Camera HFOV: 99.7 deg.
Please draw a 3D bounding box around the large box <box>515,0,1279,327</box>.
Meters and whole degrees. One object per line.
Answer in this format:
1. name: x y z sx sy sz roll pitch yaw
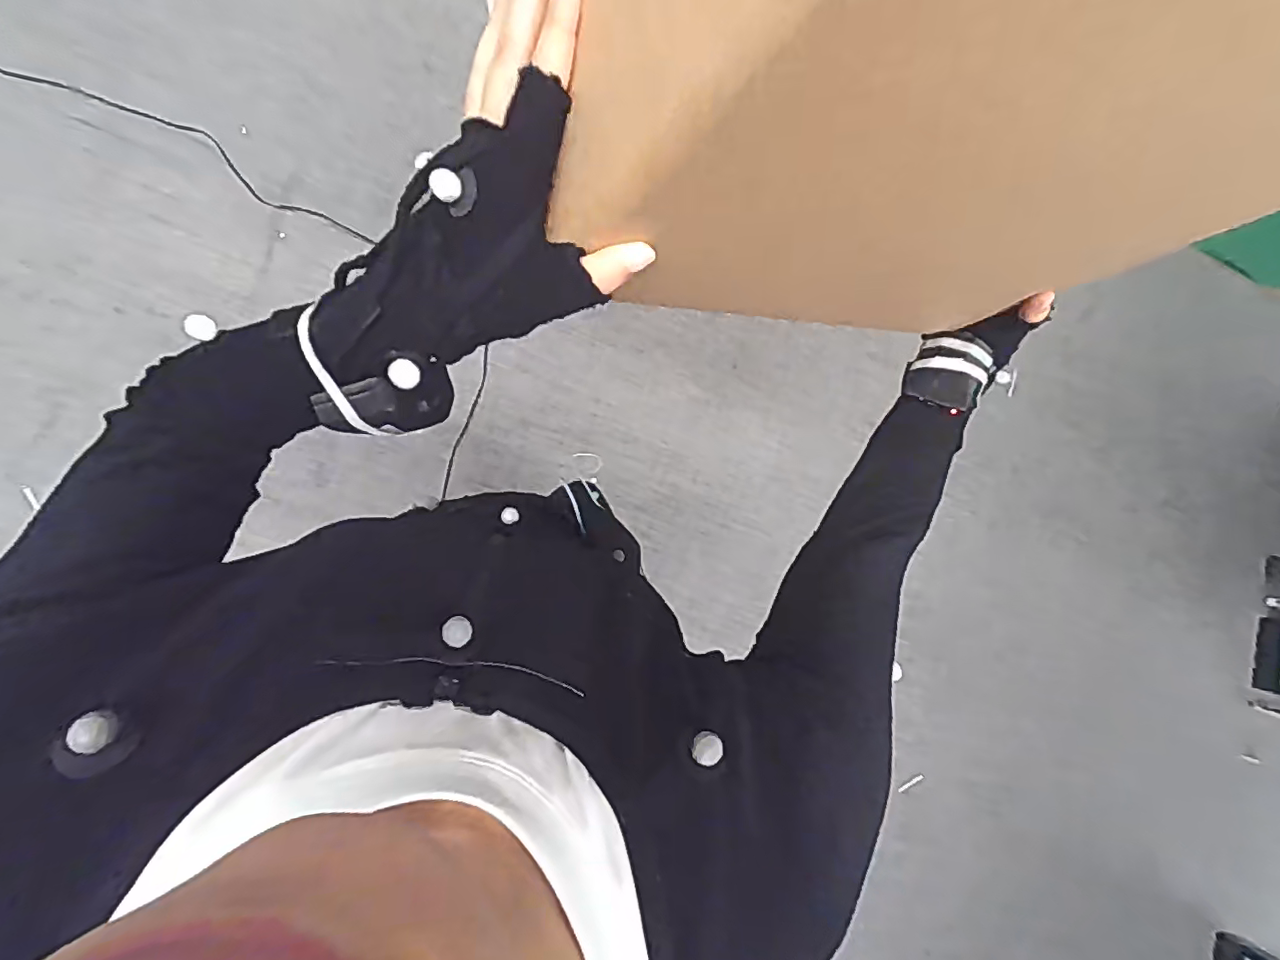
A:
1. large box: 0.174 -0.290 0.281 0.408 0.320 0.320 -6 85 -34
